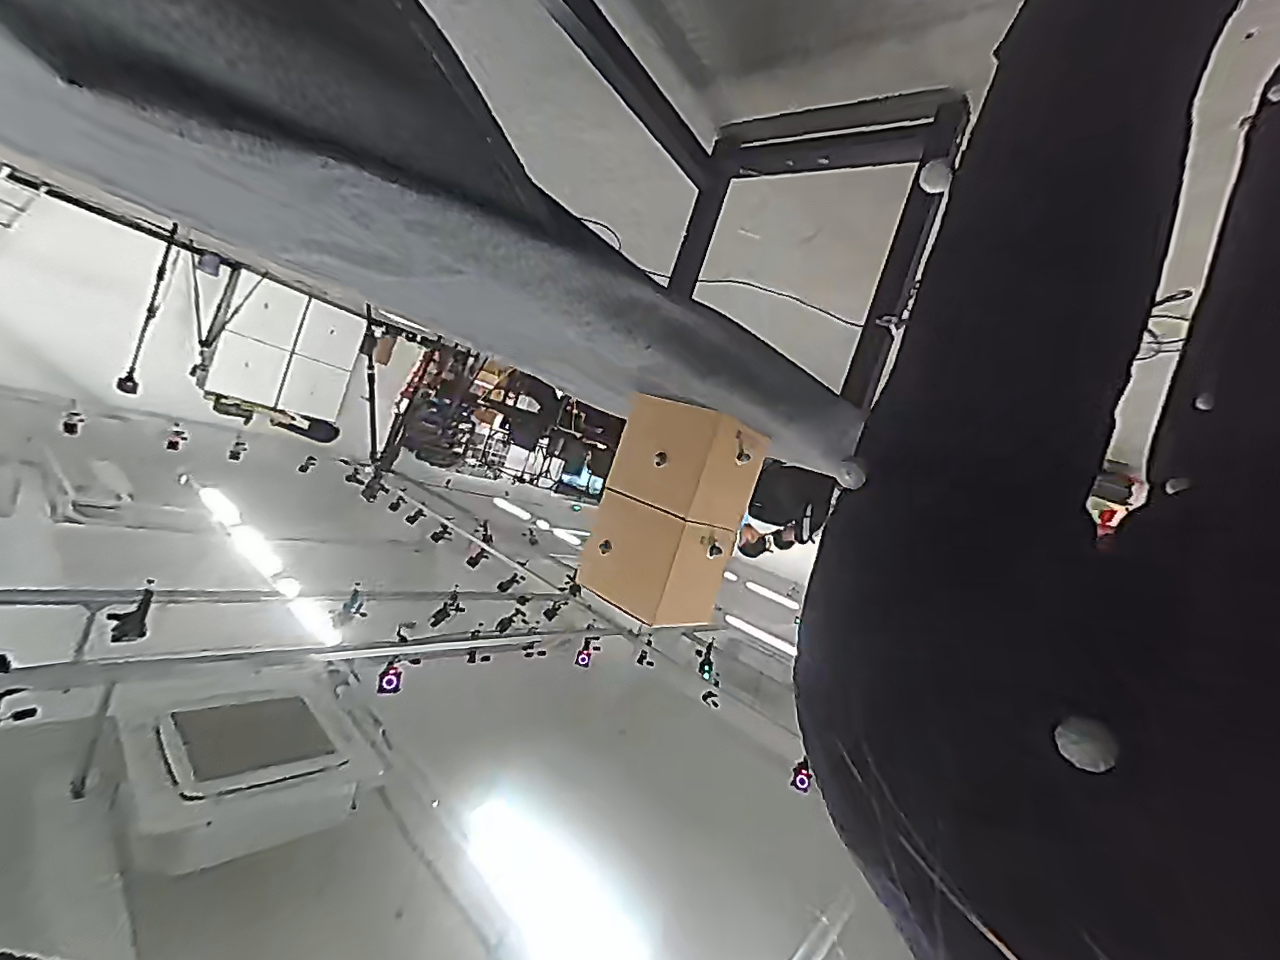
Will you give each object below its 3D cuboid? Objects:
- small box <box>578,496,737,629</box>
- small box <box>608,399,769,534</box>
[{"bbox_3d":[0.032,0.129,0.891,0.179,0.176,0.168,19,-177,40],"label":"small box"},{"bbox_3d":[0.083,-0.025,0.886,0.179,0.176,0.168,19,-178,40],"label":"small box"}]
